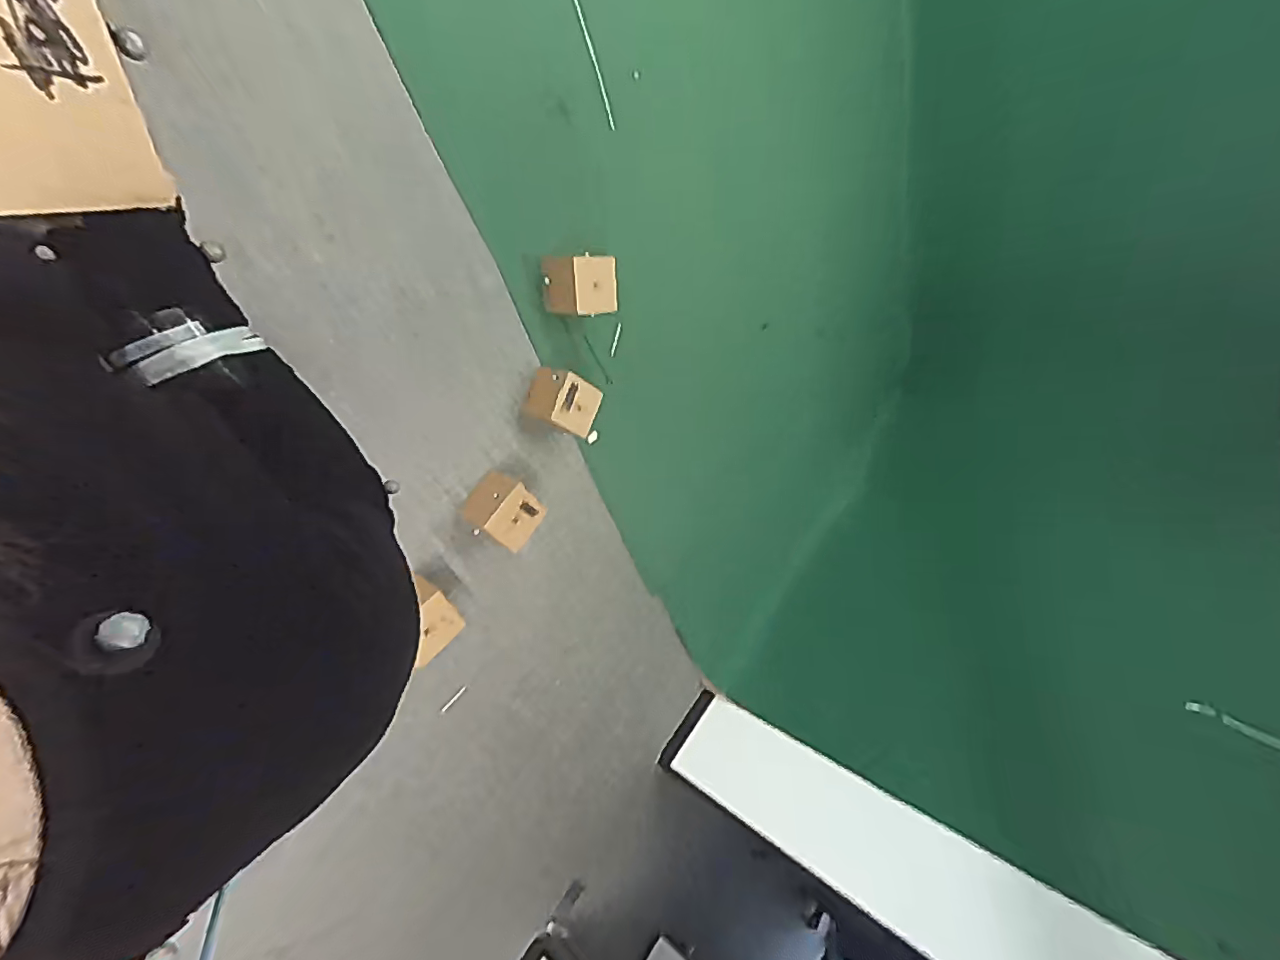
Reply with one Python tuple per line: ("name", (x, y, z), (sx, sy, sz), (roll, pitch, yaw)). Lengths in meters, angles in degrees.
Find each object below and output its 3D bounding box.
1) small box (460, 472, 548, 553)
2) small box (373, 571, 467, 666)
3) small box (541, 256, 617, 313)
("small box", (-0.435, 0.097, 1.721), (0.179, 0.176, 0.168), (-55, 136, -19))
("small box", (-0.652, 0.401, 1.584), (0.179, 0.176, 0.168), (-45, 133, -28))
("small box", (-0.196, -0.632, 1.744), (0.179, 0.176, 0.168), (-22, 118, -42))
